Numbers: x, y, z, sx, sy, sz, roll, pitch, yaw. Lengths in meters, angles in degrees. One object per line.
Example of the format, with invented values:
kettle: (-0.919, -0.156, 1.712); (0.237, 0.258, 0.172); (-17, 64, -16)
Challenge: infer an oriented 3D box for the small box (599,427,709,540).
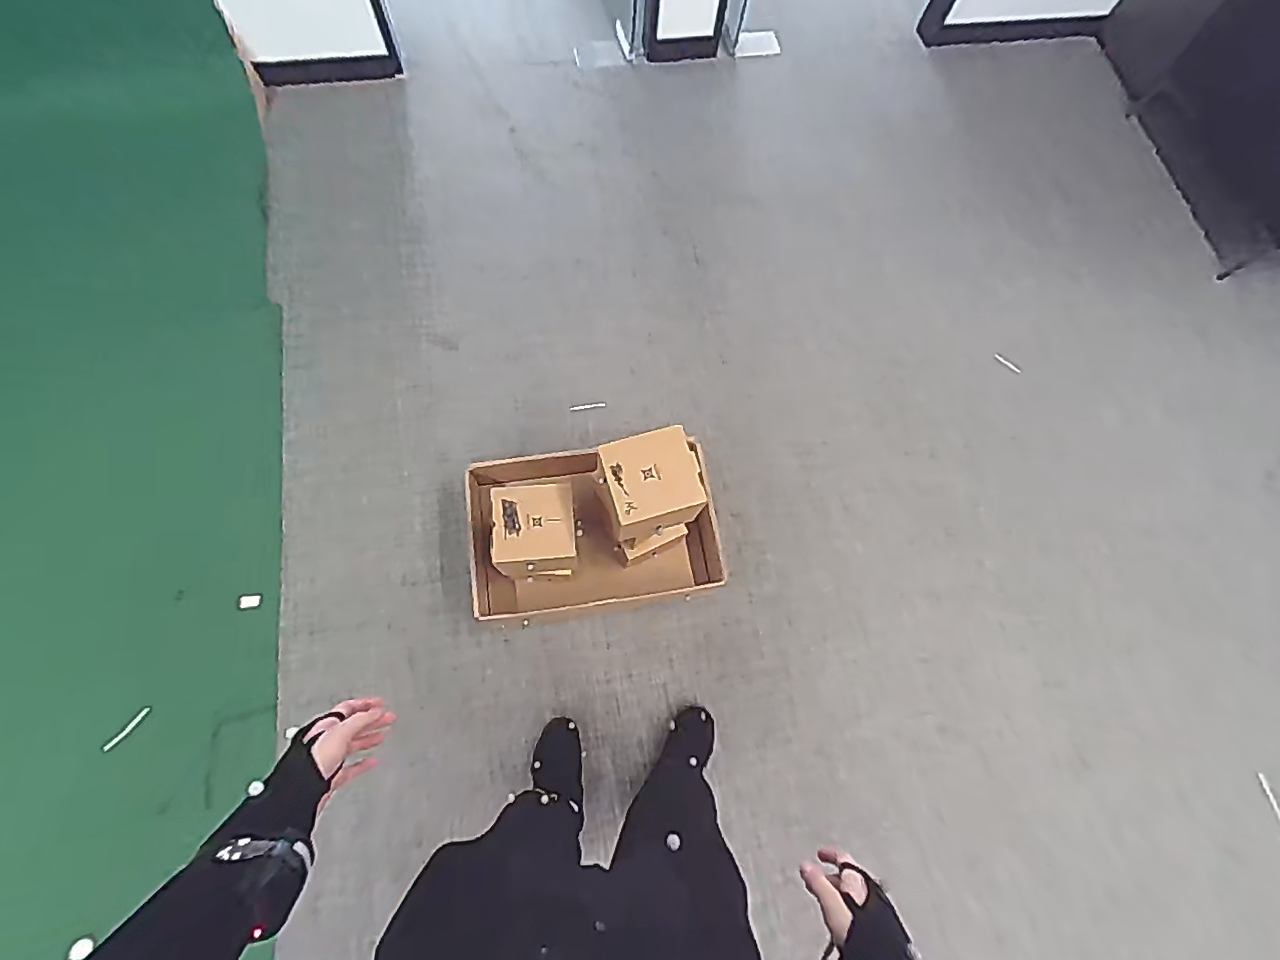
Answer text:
small box: (0.020, 0.013, 1.102); (0.179, 0.176, 0.168); (-15, 74, -9)

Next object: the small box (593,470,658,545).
small box: (0.005, 0.036, 1.265); (0.168, 0.176, 0.179); (-34, 78, -13)

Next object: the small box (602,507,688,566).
small box: (0.007, 0.113, 1.412); (0.168, 0.176, 0.179); (-23, 75, -11)

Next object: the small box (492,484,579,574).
small box: (-0.231, 0.115, 1.219); (0.179, 0.176, 0.168); (-3, 72, -7)
